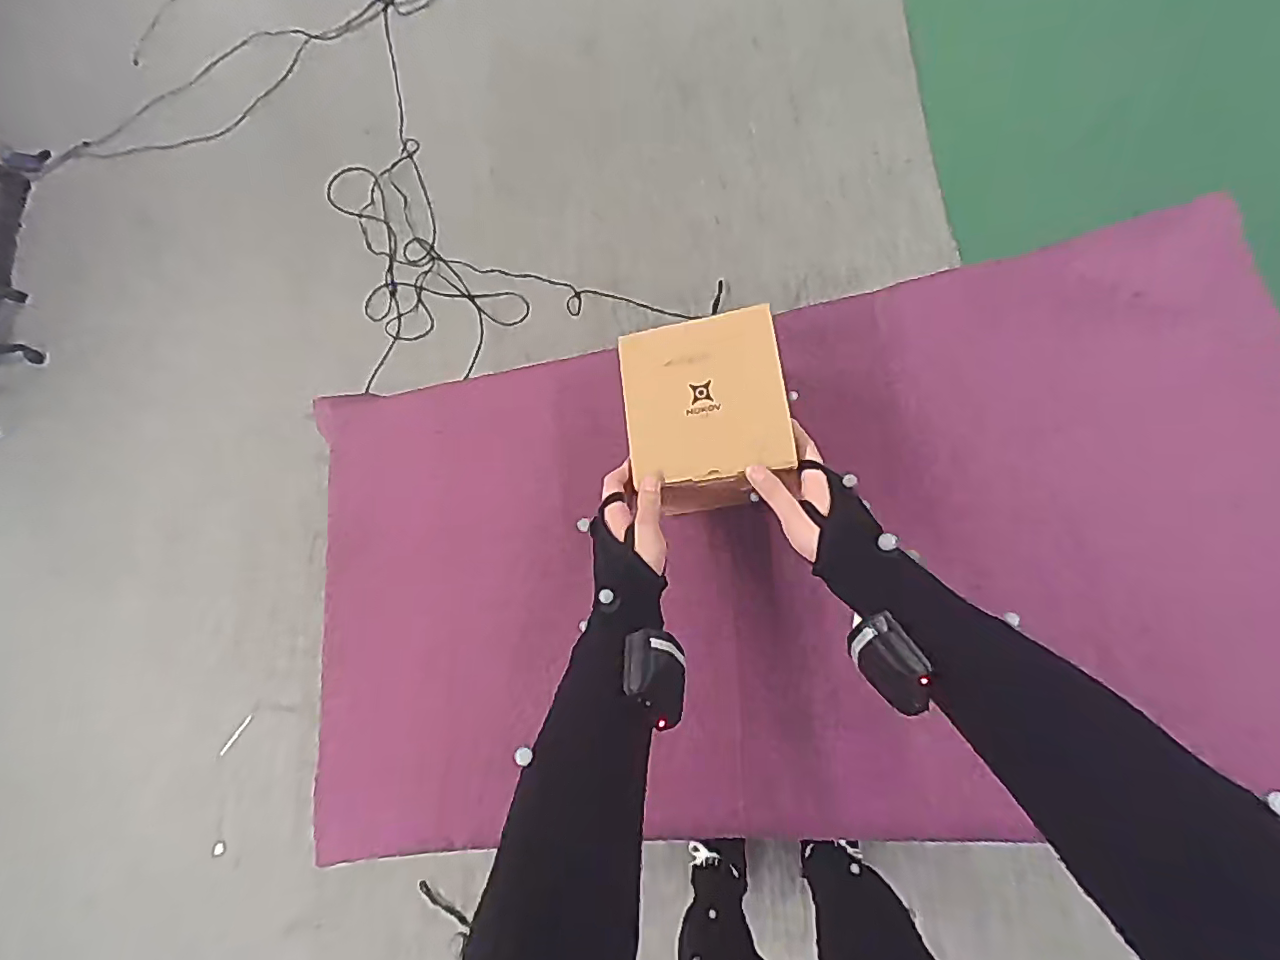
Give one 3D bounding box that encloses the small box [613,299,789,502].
[{"bbox_3d":[0.078,-0.075,0.627,0.168,0.176,0.179,-9,76,12],"label":"small box"}]
